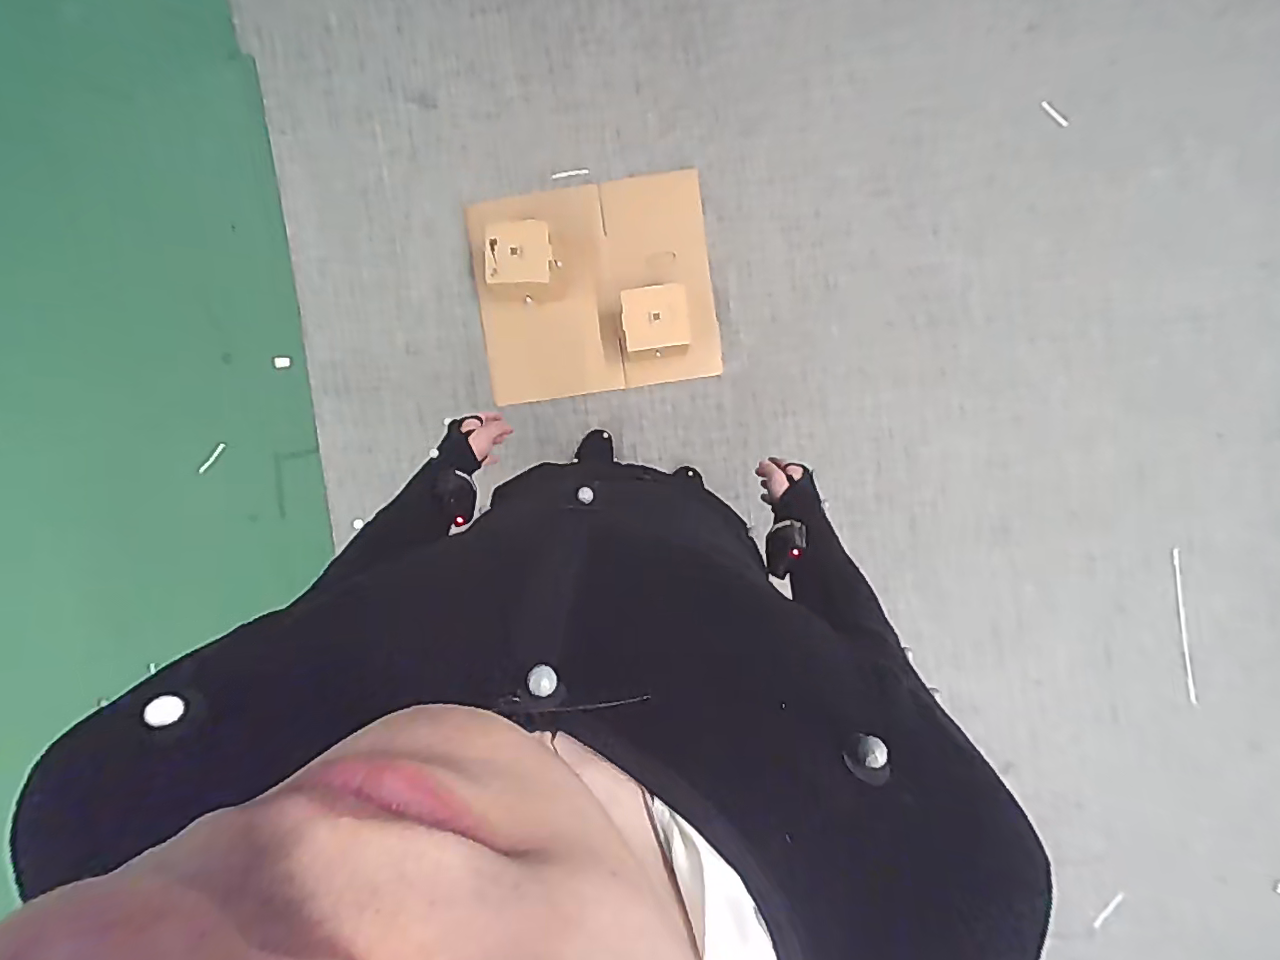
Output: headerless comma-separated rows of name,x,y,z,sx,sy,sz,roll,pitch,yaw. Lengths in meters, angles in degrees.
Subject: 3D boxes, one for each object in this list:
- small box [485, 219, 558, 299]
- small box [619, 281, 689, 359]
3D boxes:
small box,-0.327,-0.613,1.516,0.179,0.176,0.168,0,93,1
small box,0.041,-0.443,1.521,0.179,0.176,0.168,-7,93,2
